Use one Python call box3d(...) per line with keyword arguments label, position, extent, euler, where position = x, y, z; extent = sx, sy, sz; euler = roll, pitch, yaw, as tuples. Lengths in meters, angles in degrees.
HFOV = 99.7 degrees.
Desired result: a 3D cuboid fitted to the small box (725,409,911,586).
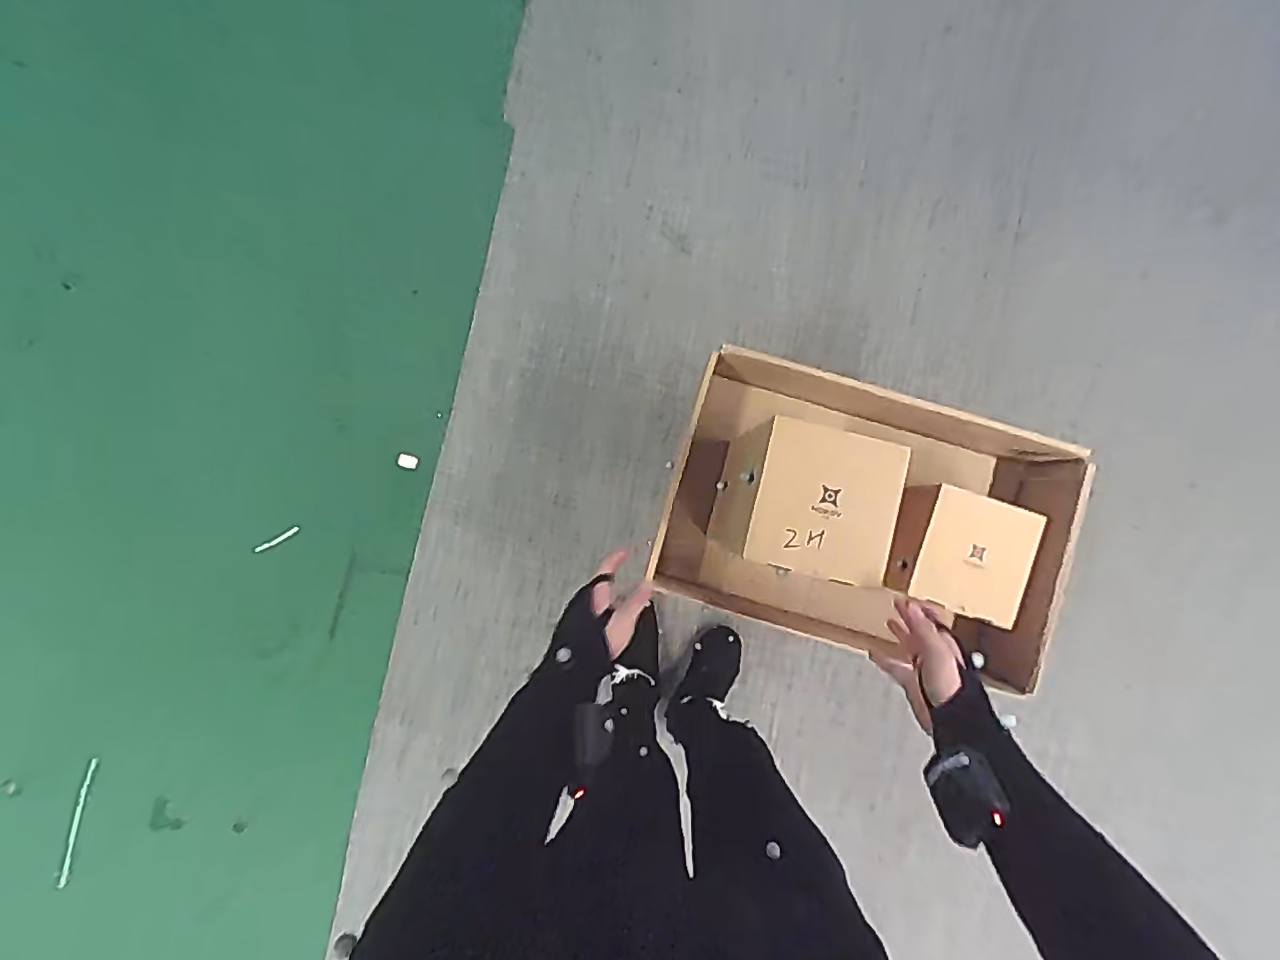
box3d(label="small box", position=(0.217, 0.023, 0.704), extent=(0.168, 0.176, 0.179), euler=(14, 88, 1))
